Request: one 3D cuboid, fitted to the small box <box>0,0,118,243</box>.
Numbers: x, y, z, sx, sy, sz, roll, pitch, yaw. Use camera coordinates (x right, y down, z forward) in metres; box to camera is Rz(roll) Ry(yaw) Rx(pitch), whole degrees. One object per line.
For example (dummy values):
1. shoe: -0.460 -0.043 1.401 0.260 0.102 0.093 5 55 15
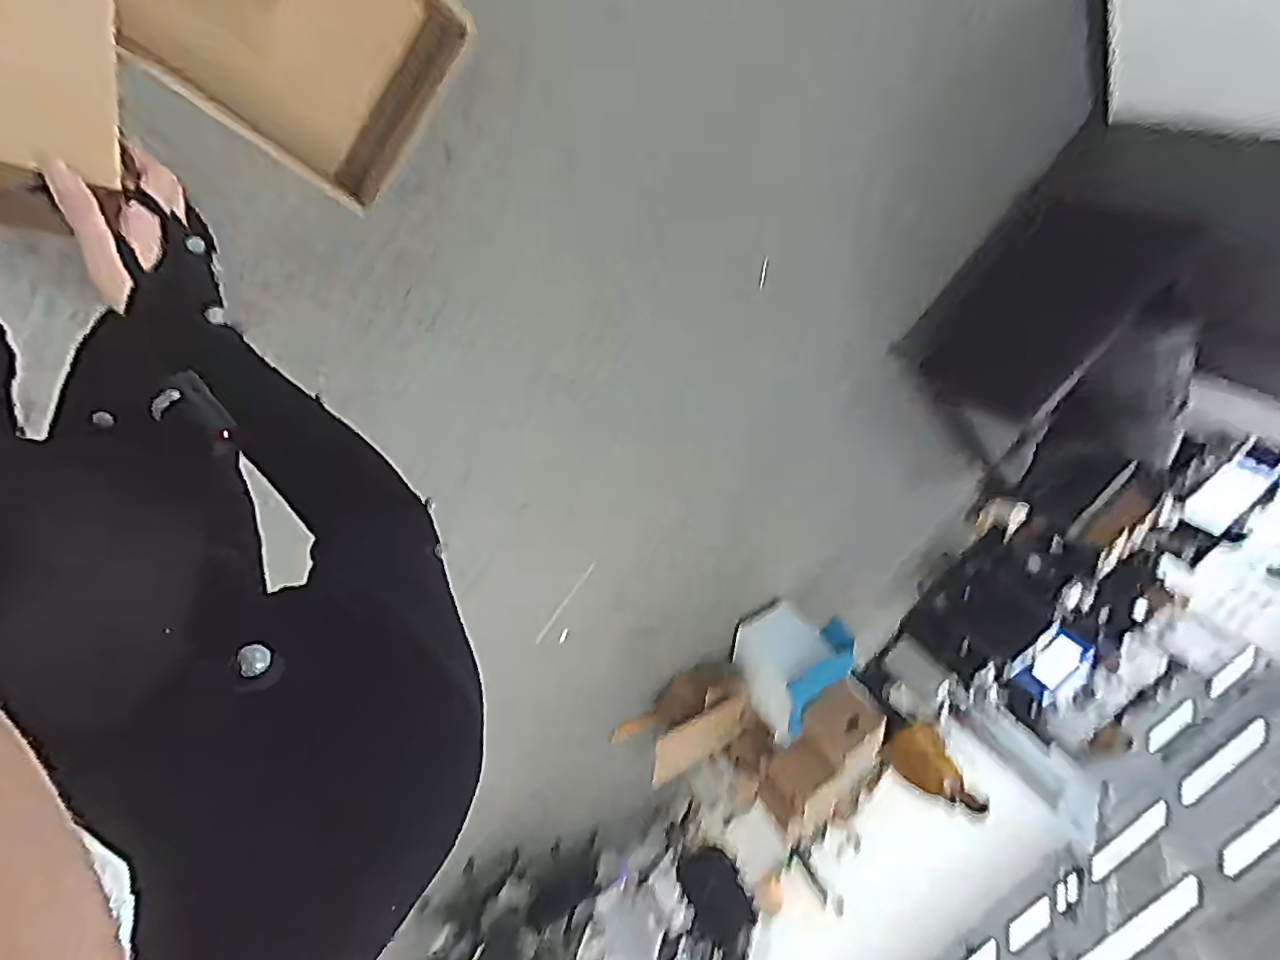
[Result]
1. small box: -0.532 -0.305 0.423 0.179 0.176 0.168 -3 93 -42
